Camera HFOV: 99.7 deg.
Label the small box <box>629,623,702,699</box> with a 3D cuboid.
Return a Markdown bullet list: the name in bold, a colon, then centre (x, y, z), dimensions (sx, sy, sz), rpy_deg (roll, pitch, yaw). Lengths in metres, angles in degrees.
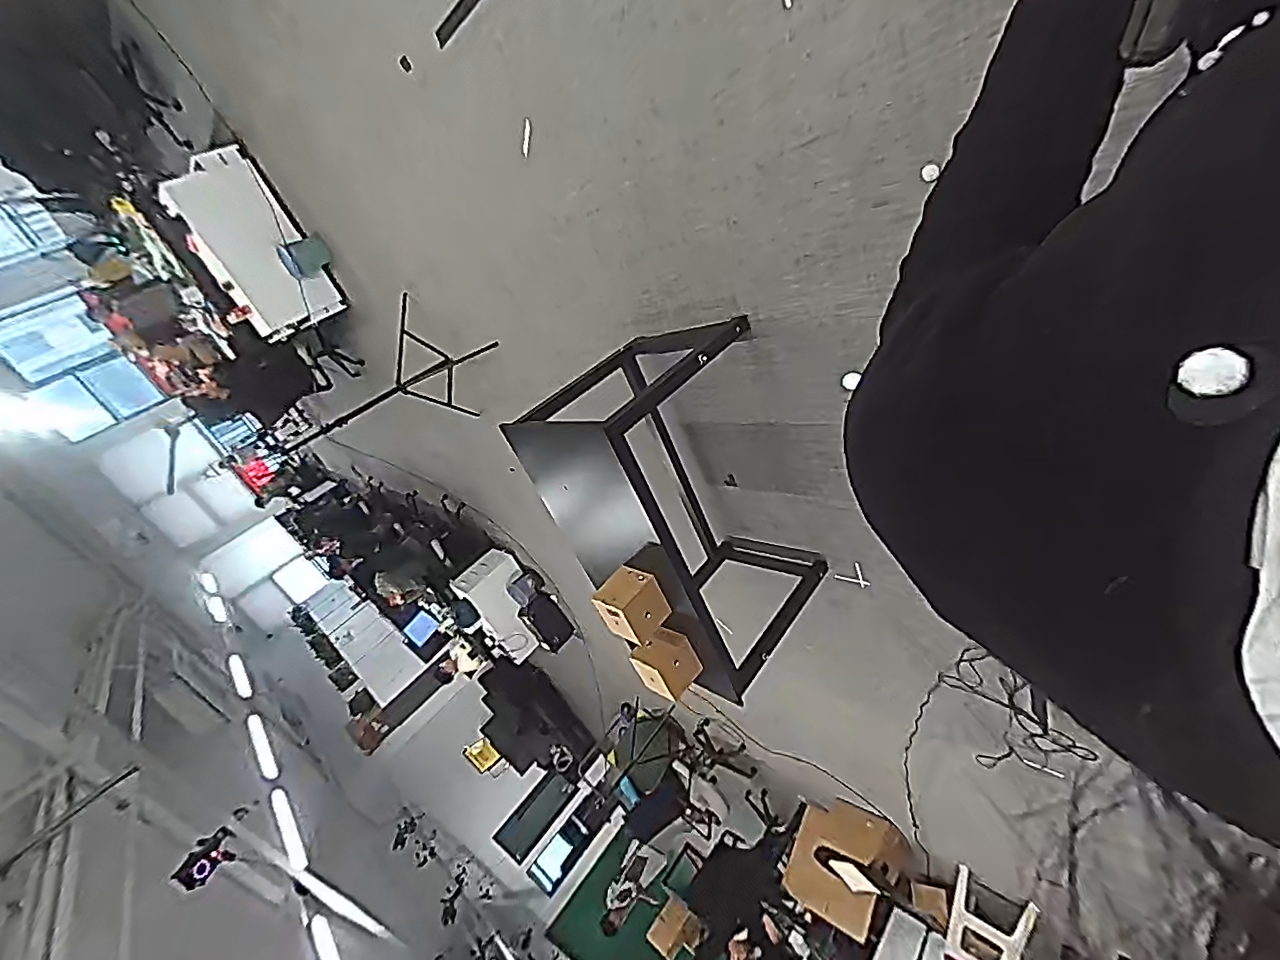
- **small box**: centre (0.096, 0.654, 1.977), dimensions (0.168, 0.176, 0.179), rpy_deg (6, 131, 51)

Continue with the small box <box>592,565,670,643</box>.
- **small box**: centre (-0.026, 0.416, 1.852), dimensions (0.168, 0.176, 0.179), rpy_deg (9, 134, 48)
